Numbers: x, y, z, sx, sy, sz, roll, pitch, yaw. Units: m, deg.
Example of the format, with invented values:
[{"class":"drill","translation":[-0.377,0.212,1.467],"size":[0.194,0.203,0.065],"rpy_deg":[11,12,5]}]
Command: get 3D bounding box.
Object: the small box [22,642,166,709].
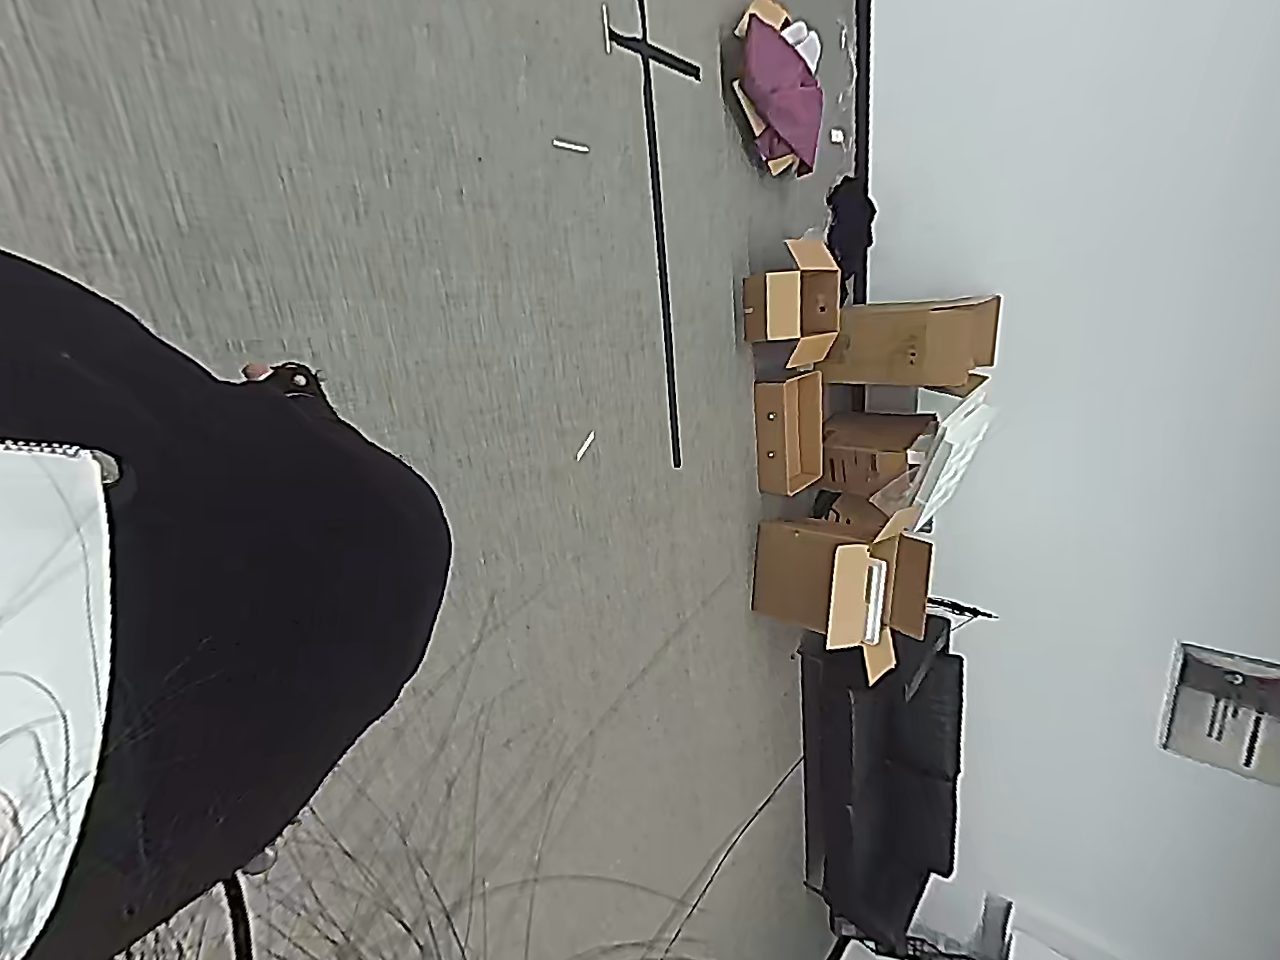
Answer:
[{"class":"small box","translation":[-0.916,0.373,0.940],"size":[0.168,0.176,0.179],"rpy_deg":[-23,114,-42]}]
